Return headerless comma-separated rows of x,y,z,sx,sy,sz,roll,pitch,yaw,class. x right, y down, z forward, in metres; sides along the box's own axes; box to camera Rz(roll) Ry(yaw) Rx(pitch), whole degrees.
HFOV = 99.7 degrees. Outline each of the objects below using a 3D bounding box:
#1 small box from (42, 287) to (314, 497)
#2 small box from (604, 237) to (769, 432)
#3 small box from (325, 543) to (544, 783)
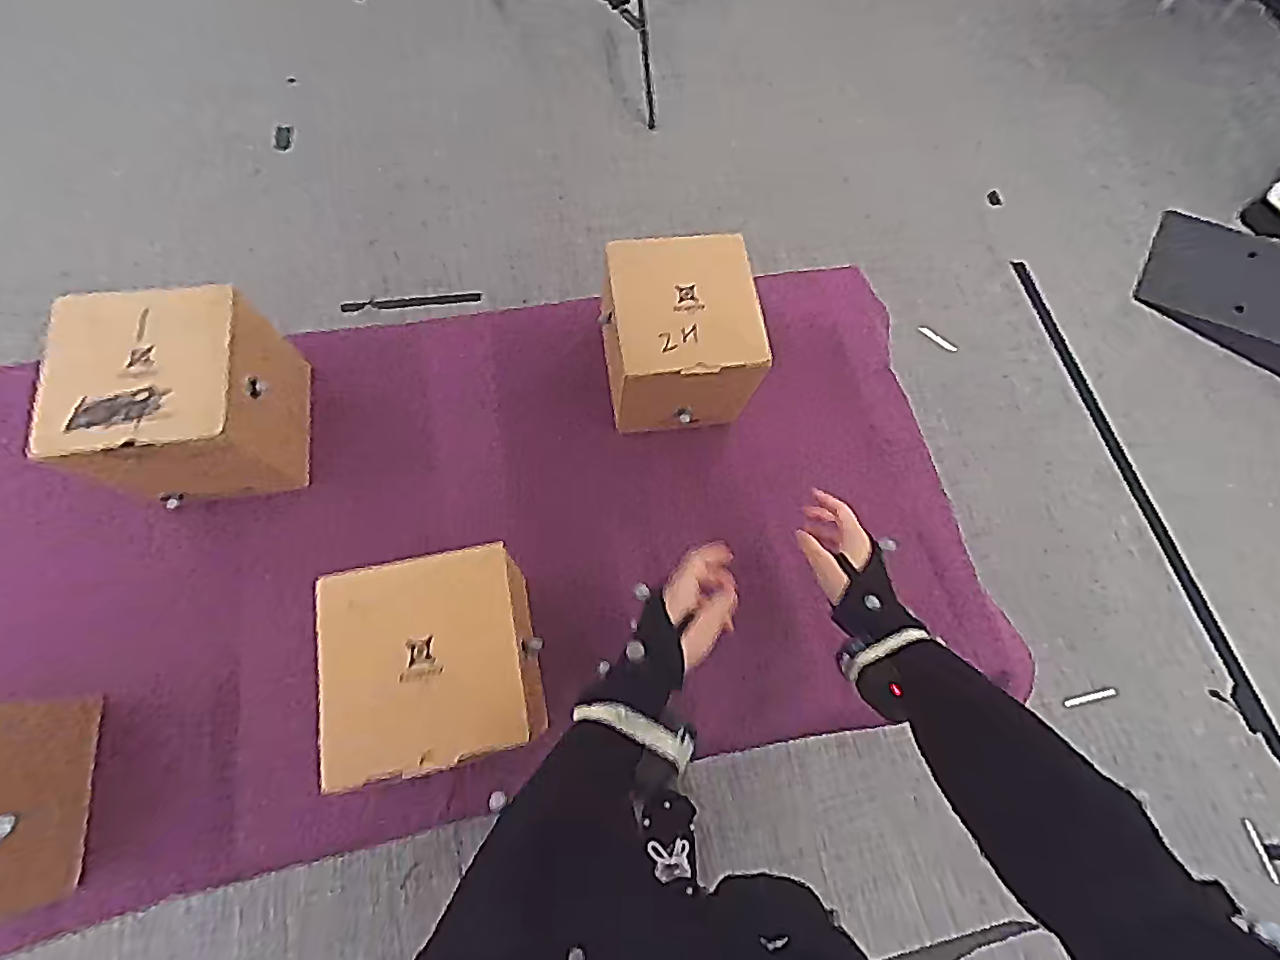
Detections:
-0.491,-0.087,0.608,0.168,0.176,0.179,-7,72,-8,small box
0.045,-0.177,0.688,0.168,0.176,0.179,-6,74,-6,small box
-0.195,0.180,0.547,0.168,0.176,0.179,-10,71,-9,small box
